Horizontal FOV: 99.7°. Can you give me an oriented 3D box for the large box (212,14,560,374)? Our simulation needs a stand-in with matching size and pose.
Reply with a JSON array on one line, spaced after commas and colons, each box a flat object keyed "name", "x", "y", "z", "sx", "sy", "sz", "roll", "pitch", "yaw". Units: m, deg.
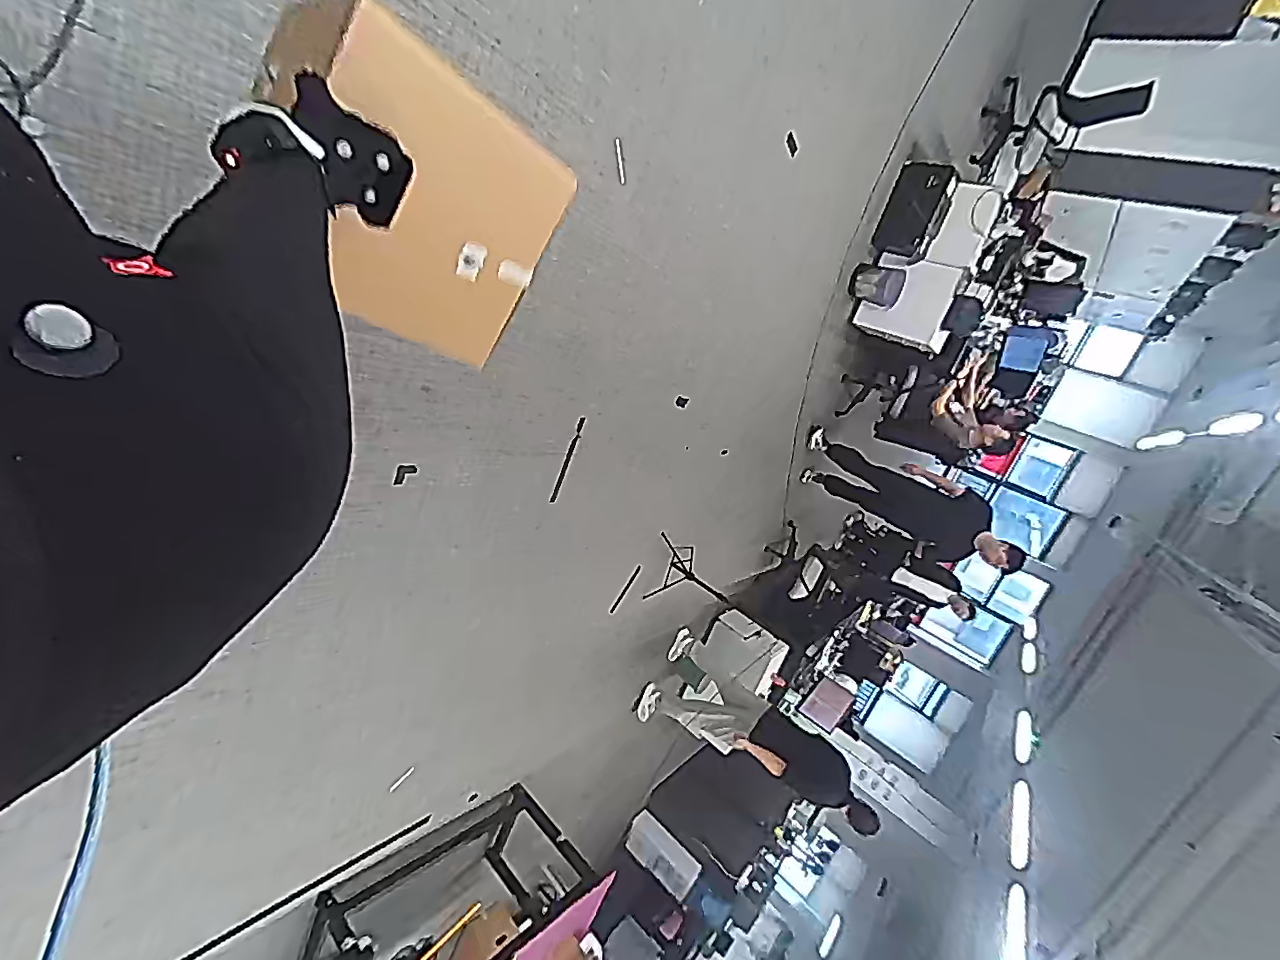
[{"name": "large box", "x": -0.394, "y": -0.410, "z": 0.818, "sx": 0.320, "sy": 0.408, "sz": 0.320, "roll": 22, "pitch": 103, "yaw": -48}]
